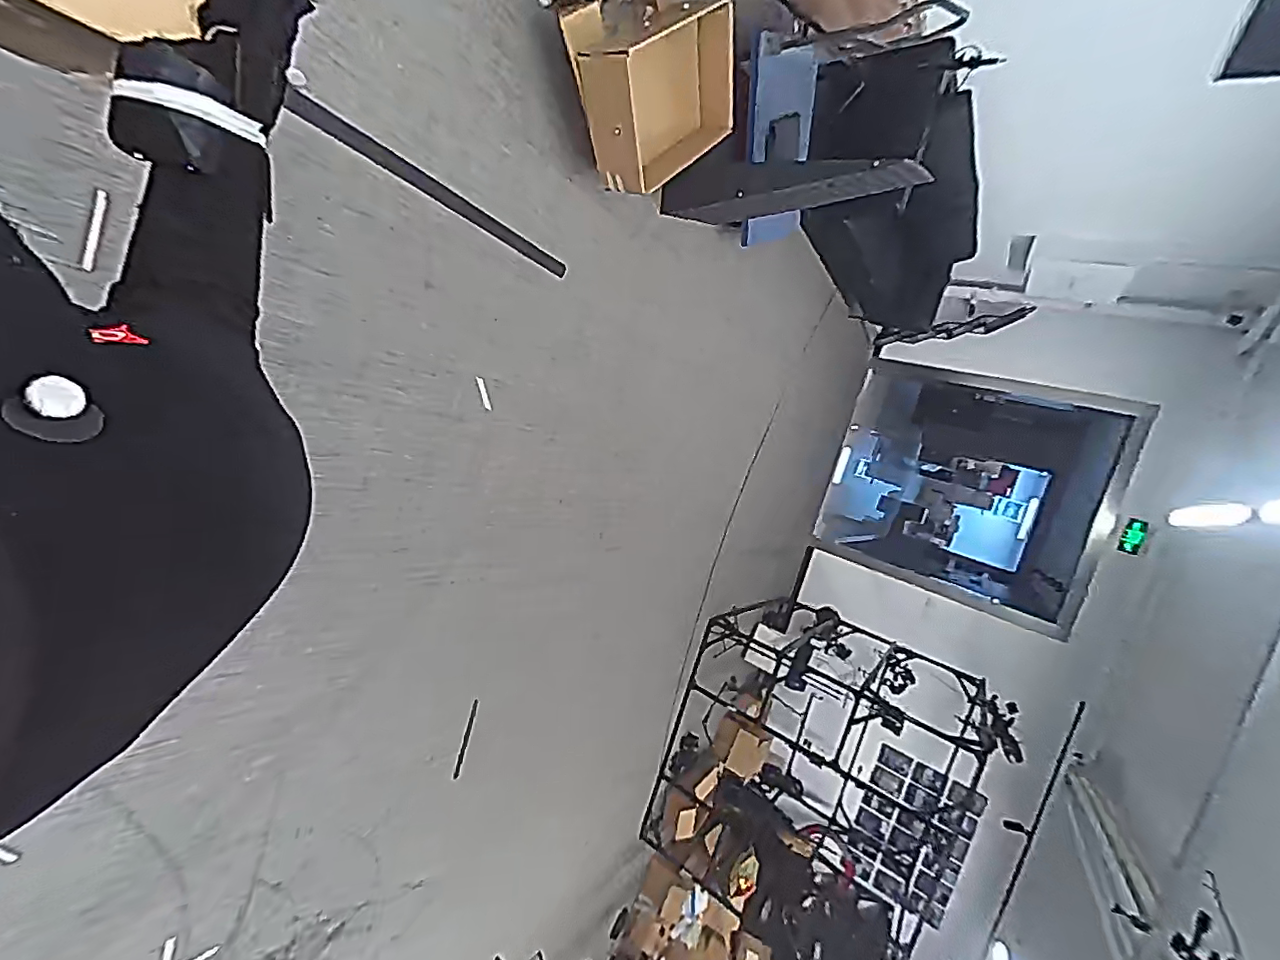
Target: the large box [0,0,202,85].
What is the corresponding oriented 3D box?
[{"bbox_3d":[-0.493,-0.459,0.245,0.408,0.320,0.320,-4,116,-59],"label":"large box"}]
